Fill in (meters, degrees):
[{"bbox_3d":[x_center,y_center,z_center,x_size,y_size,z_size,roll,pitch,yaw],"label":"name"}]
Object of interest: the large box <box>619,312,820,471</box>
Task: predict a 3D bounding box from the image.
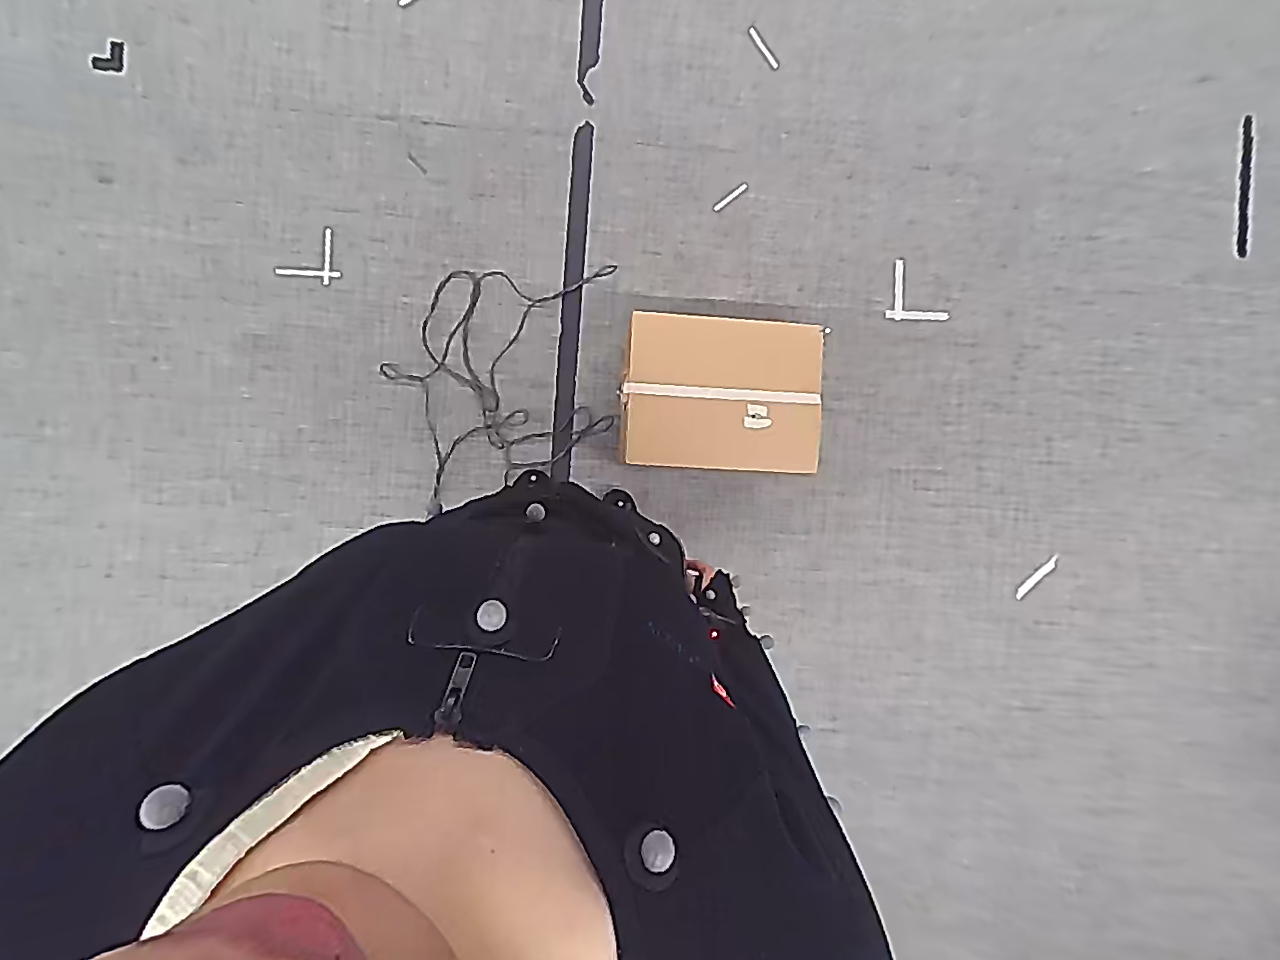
[{"bbox_3d":[0.161,-0.182,1.262,0.408,0.320,0.320,2,91,-6],"label":"large box"}]
